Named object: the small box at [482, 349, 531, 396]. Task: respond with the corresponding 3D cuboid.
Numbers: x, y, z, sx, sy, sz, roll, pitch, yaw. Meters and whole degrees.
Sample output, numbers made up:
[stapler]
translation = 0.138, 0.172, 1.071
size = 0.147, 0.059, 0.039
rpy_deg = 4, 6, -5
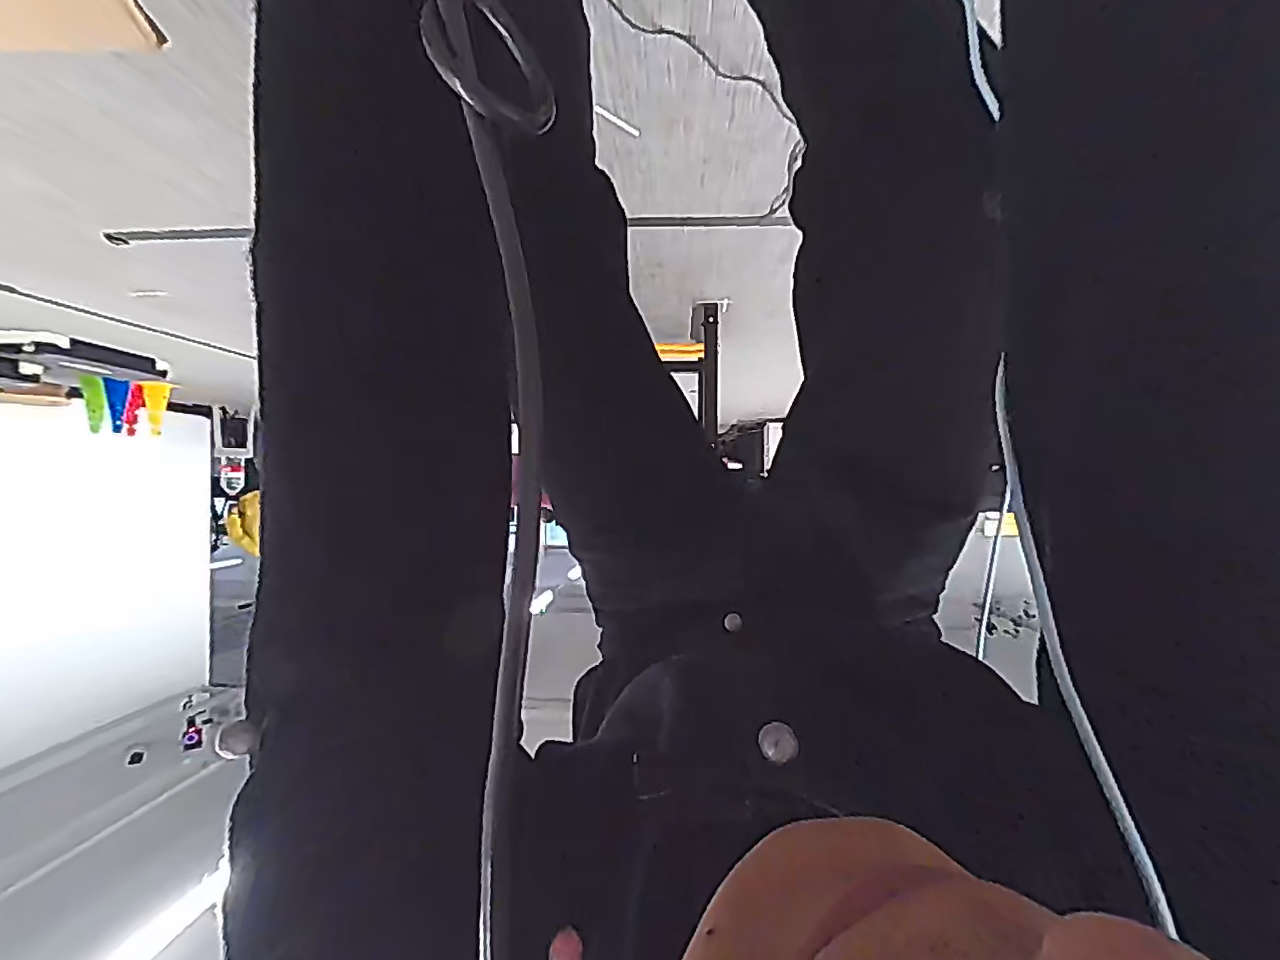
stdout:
[small box]
translation = -0.556, -0.446, 2.253
size = 0.168, 0.176, 0.179
rpy_deg = 0, -179, 3
